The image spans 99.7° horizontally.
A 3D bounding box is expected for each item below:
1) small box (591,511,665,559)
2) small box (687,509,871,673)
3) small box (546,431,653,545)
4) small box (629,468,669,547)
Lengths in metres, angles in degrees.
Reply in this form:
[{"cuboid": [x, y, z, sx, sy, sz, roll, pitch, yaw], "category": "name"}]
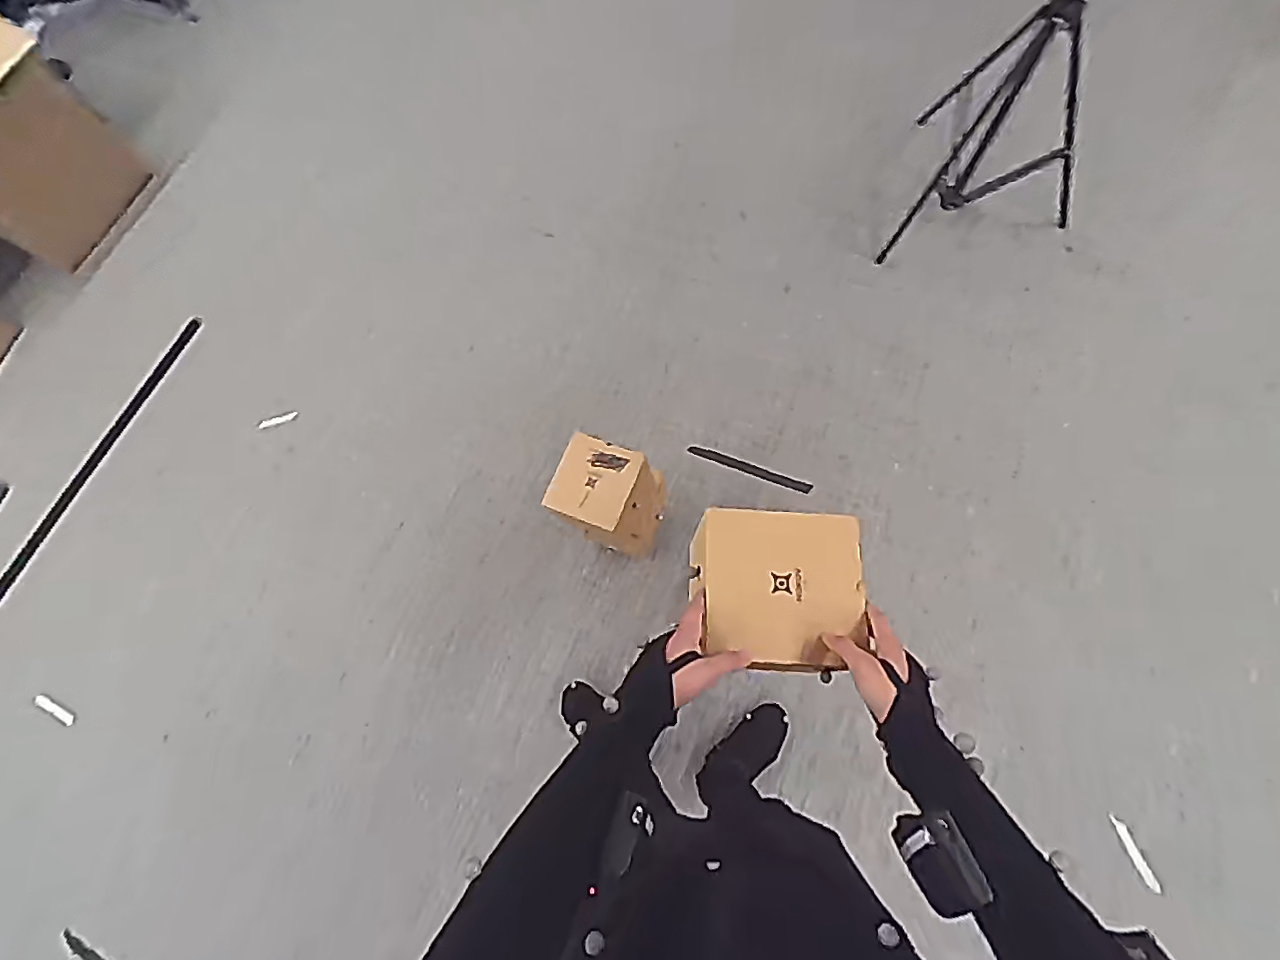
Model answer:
[{"cuboid": [-0.033, 0.102, 1.488, 0.168, 0.176, 0.179, 18, 76, 12], "category": "small box"}, {"cuboid": [0.150, 0.141, 0.652, 0.179, 0.176, 0.168, 3, 69, -1], "category": "small box"}, {"cuboid": [-0.077, 0.023, 1.173, 0.168, 0.176, 0.179, 20, 77, 13], "category": "small box"}, {"cuboid": [-0.037, 0.055, 1.331, 0.179, 0.176, 0.168, 17, 75, 11], "category": "small box"}]
